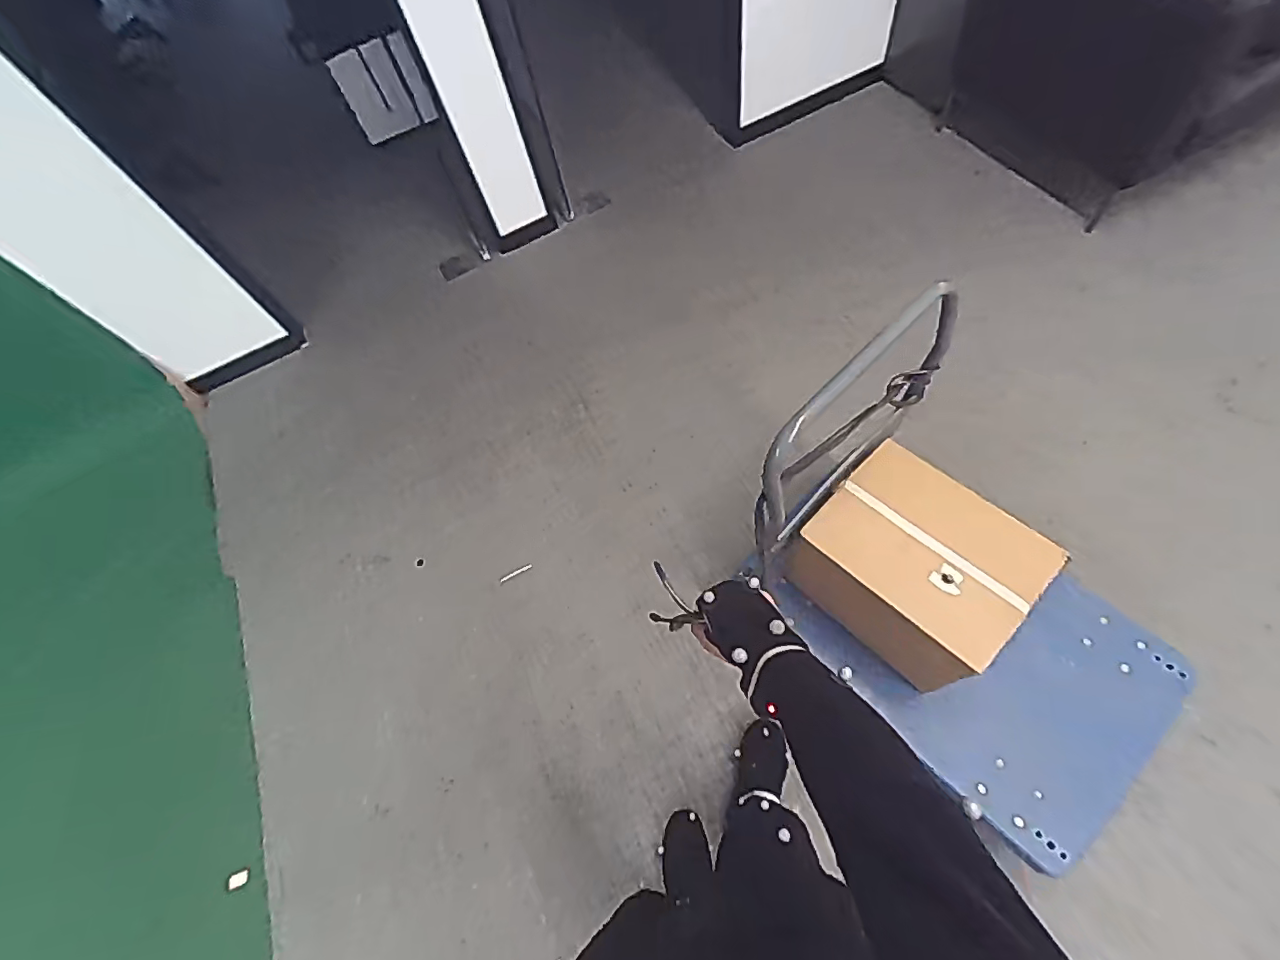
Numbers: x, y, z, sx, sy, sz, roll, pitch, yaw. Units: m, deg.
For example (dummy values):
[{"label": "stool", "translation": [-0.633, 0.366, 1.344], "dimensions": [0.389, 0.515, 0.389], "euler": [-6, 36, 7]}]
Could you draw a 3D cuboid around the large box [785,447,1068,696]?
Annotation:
[{"label": "large box", "translation": [0.592, 0.206, 1.203], "dimensions": [0.320, 0.320, 0.408], "euler": [-43, 65, -13]}]
